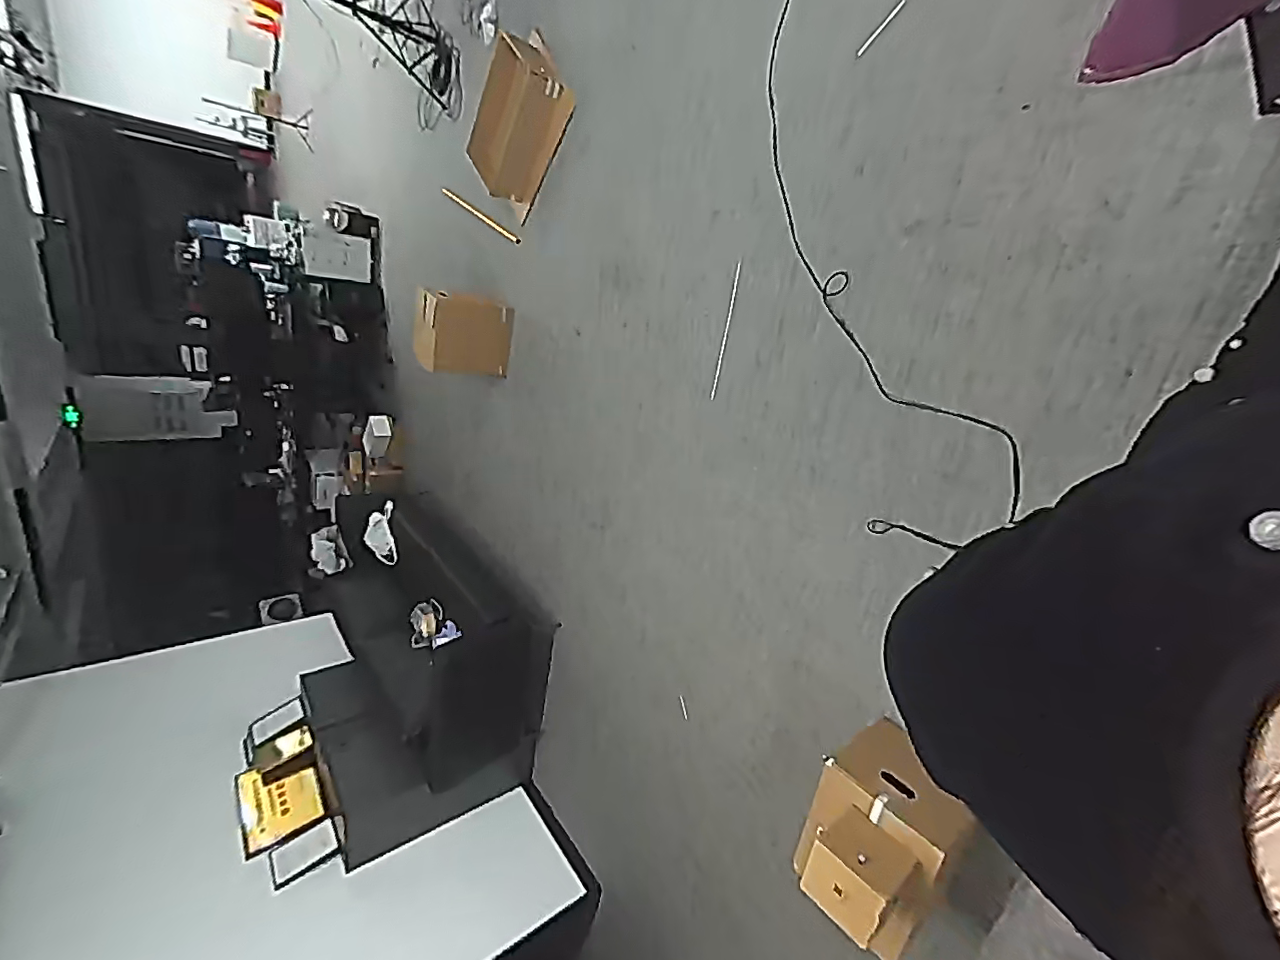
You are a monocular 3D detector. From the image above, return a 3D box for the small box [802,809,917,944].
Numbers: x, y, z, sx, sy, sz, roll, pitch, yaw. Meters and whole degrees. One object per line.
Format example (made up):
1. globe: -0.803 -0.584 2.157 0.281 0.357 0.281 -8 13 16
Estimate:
1. small box: 0.527 0.933 1.298 0.179 0.176 0.168 27 115 42
